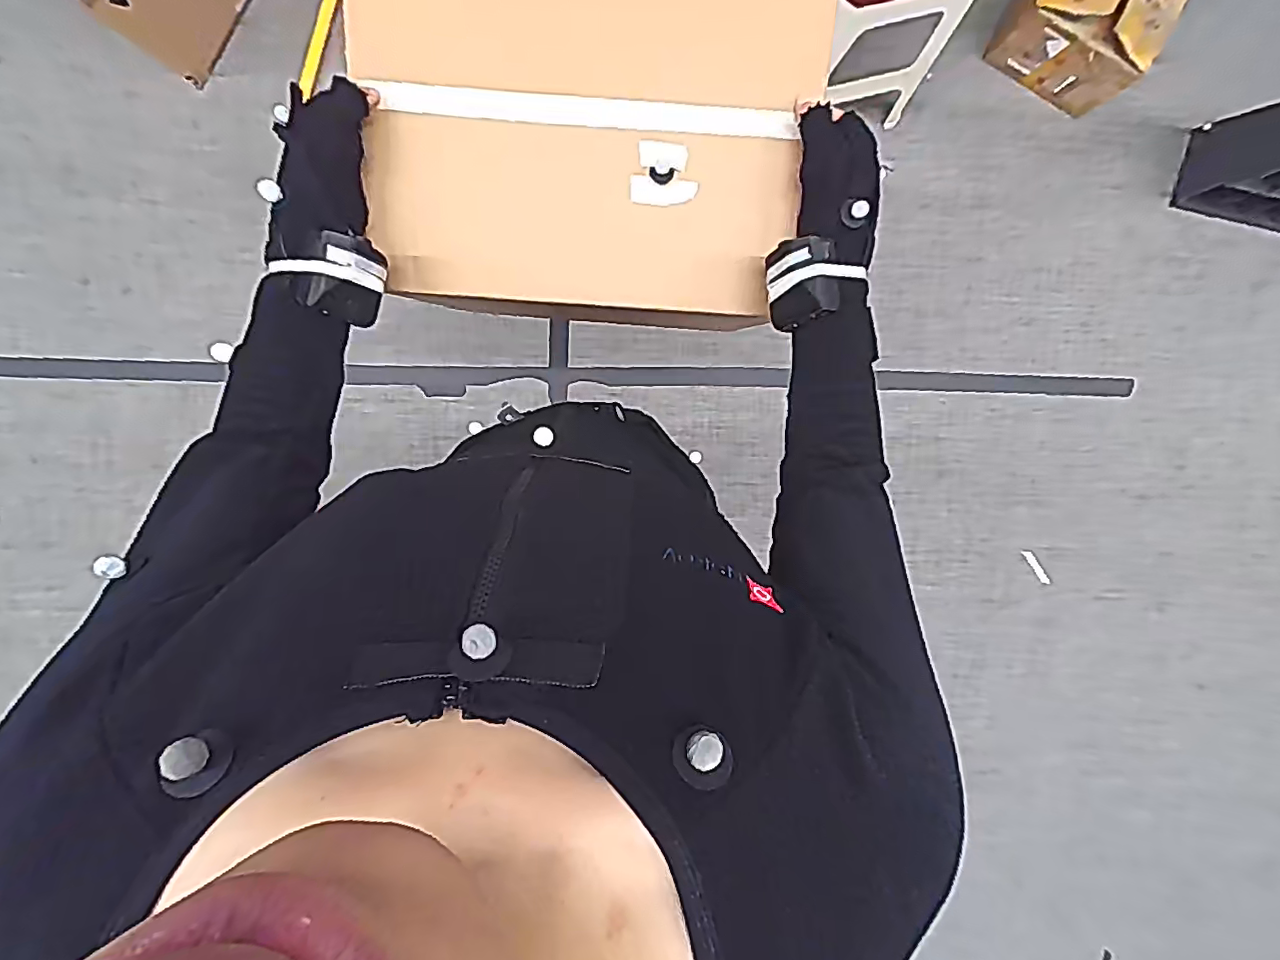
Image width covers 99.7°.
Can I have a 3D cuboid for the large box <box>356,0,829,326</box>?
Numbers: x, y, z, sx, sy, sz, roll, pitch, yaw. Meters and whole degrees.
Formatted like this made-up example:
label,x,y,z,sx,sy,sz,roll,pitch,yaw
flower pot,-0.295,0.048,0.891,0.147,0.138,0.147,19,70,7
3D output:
label,x,y,z,sx,sy,sz,roll,pitch,yaw
large box,-0.048,-0.353,0.616,0.408,0.320,0.320,3,103,-2
